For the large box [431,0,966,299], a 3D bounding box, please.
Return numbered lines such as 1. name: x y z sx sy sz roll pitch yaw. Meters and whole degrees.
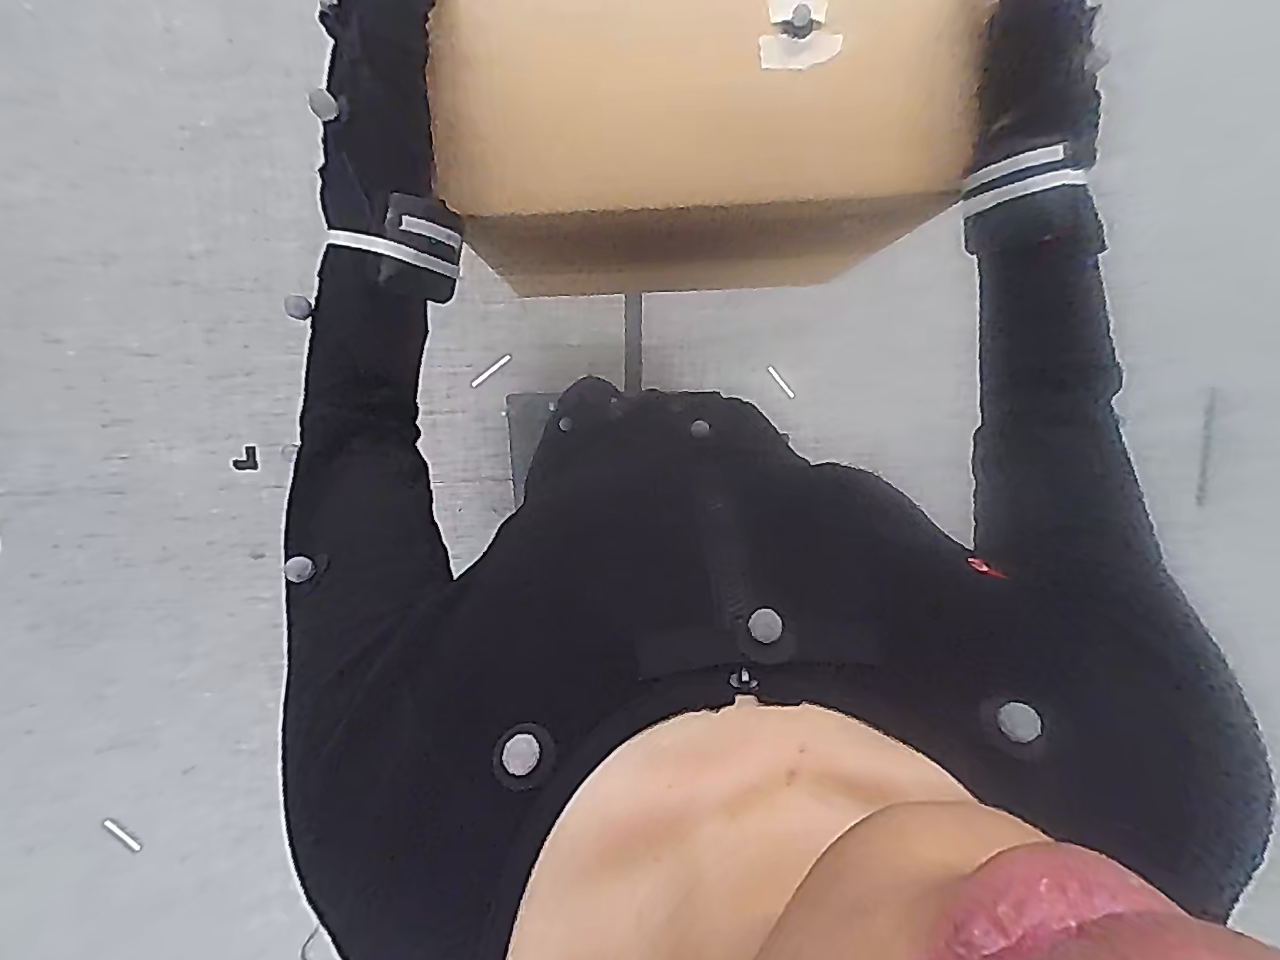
1. large box: 0.038 -0.383 0.545 0.408 0.320 0.320 -4 98 -1
